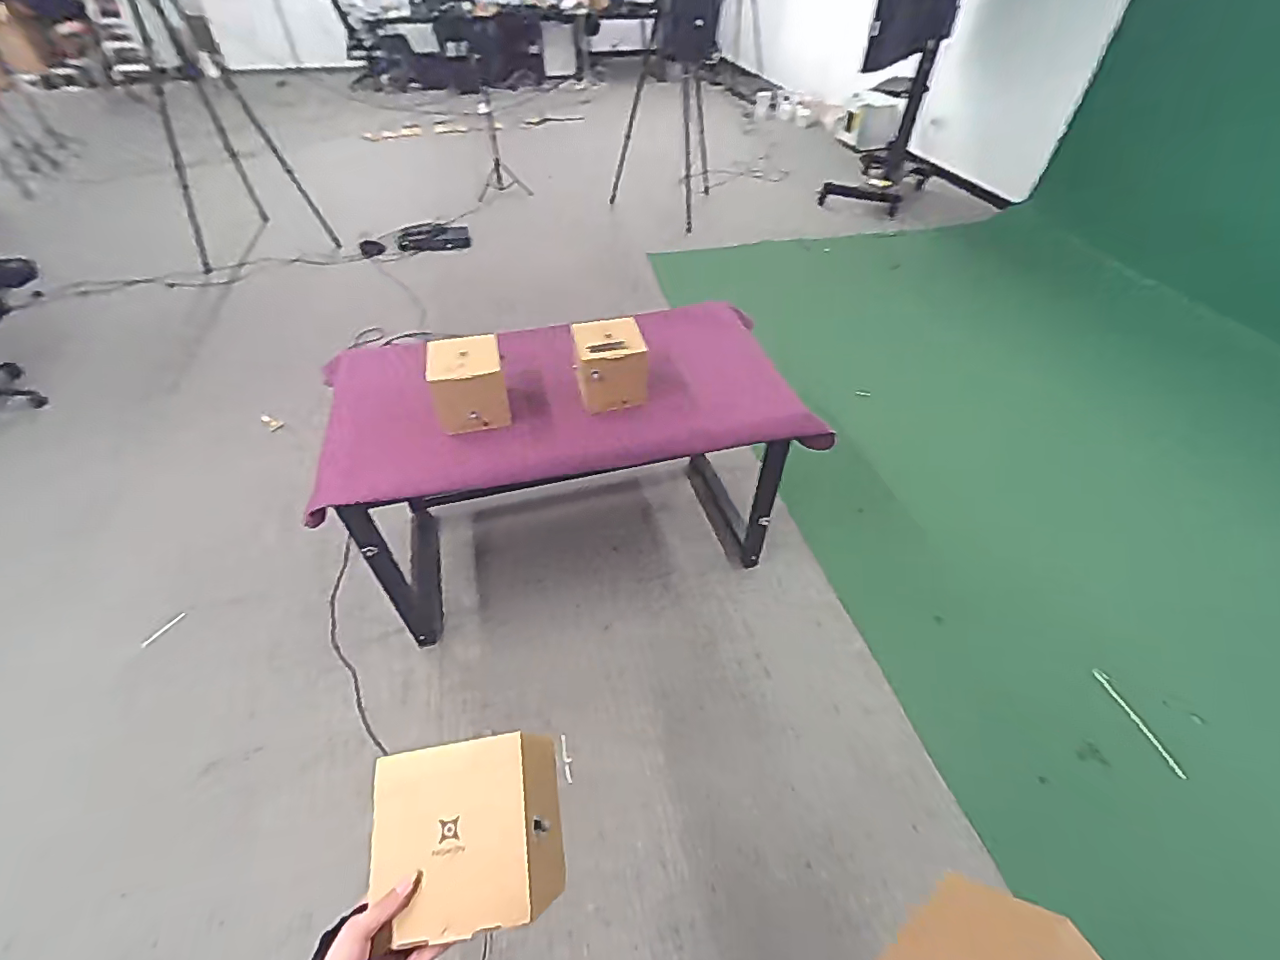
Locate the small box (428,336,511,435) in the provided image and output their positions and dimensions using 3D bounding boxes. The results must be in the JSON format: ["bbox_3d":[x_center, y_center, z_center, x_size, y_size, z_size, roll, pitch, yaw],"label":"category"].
[{"bbox_3d":[-0.422,-0.236,1.352,0.168,0.176,0.179,-10,47,-10],"label":"small box"}]

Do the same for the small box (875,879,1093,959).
[{"bbox_3d":[0.339,0.526,0.501,0.179,0.176,0.168,-33,76,-22],"label":"small box"}]

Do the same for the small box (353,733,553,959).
[{"bbox_3d":[-0.201,0.404,0.623,0.168,0.176,0.179,-10,63,-2],"label":"small box"}]
